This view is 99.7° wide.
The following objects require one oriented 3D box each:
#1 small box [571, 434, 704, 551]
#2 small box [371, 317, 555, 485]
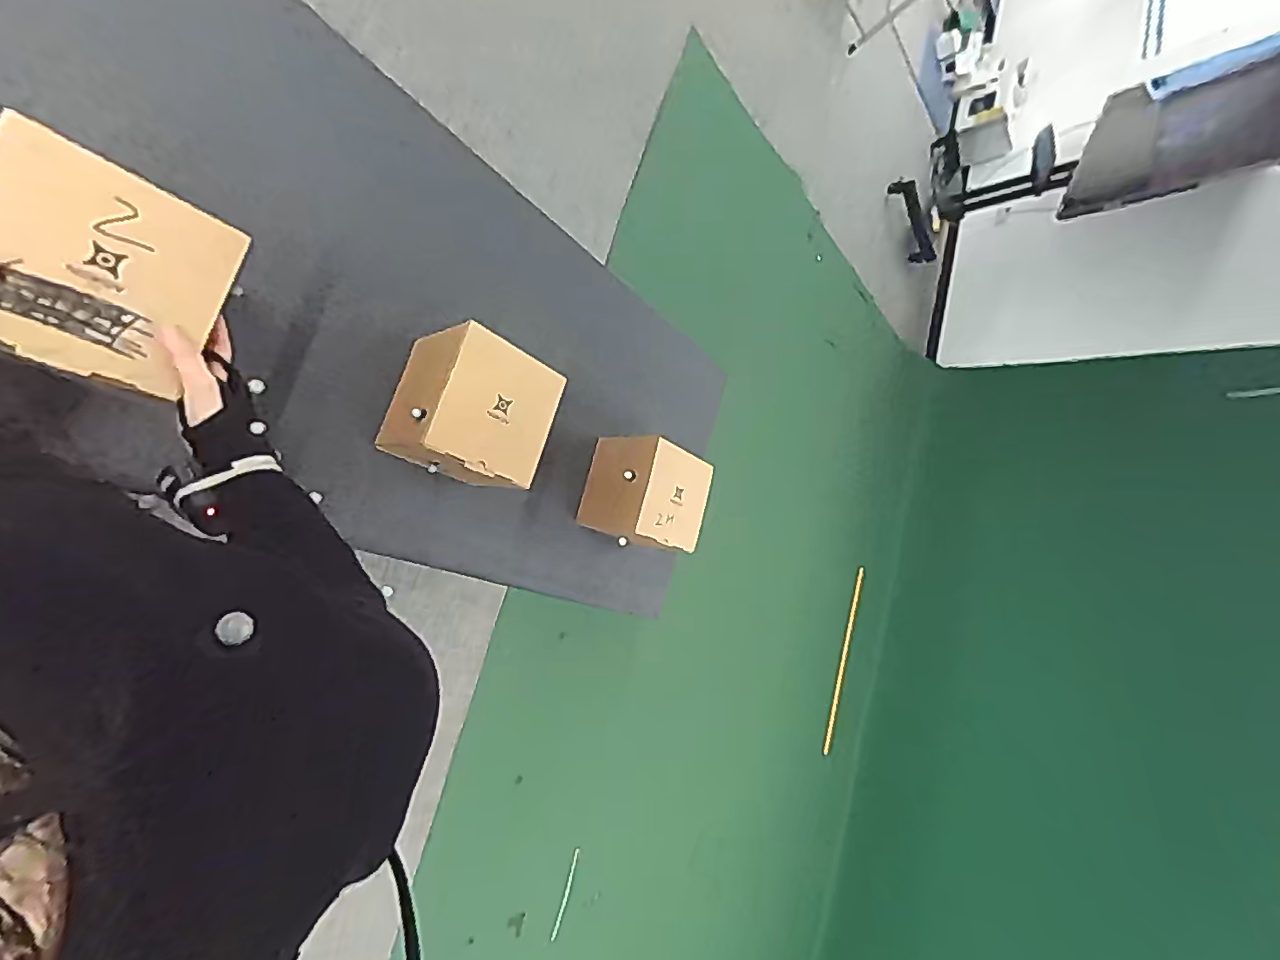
[{"bbox_3d":[-0.007,0.022,1.032,0.168,0.176,0.179,25,76,-42],"label":"small box"},{"bbox_3d":[-0.256,-0.106,0.778,0.168,0.176,0.179,28,74,-43],"label":"small box"}]
